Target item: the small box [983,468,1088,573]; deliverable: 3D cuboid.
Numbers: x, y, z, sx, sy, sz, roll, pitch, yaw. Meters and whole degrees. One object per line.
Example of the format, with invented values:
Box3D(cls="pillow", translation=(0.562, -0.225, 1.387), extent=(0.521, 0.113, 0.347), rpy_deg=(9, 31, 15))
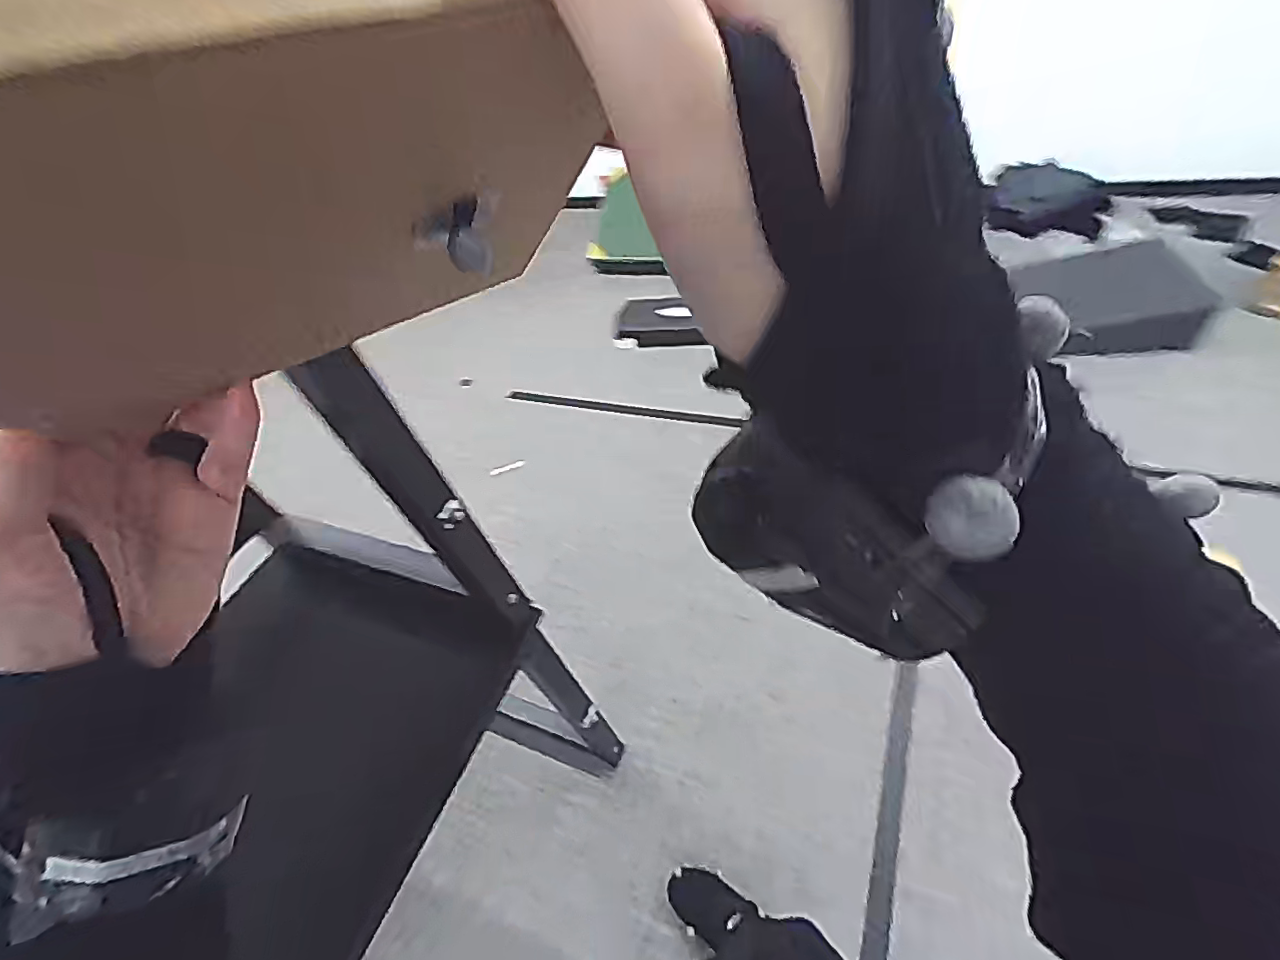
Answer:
Box3D(cls="small box", translation=(0.975, 0.103, 1.341), extent=(0.168, 0.176, 0.179), rpy_deg=(17, 54, 25))
